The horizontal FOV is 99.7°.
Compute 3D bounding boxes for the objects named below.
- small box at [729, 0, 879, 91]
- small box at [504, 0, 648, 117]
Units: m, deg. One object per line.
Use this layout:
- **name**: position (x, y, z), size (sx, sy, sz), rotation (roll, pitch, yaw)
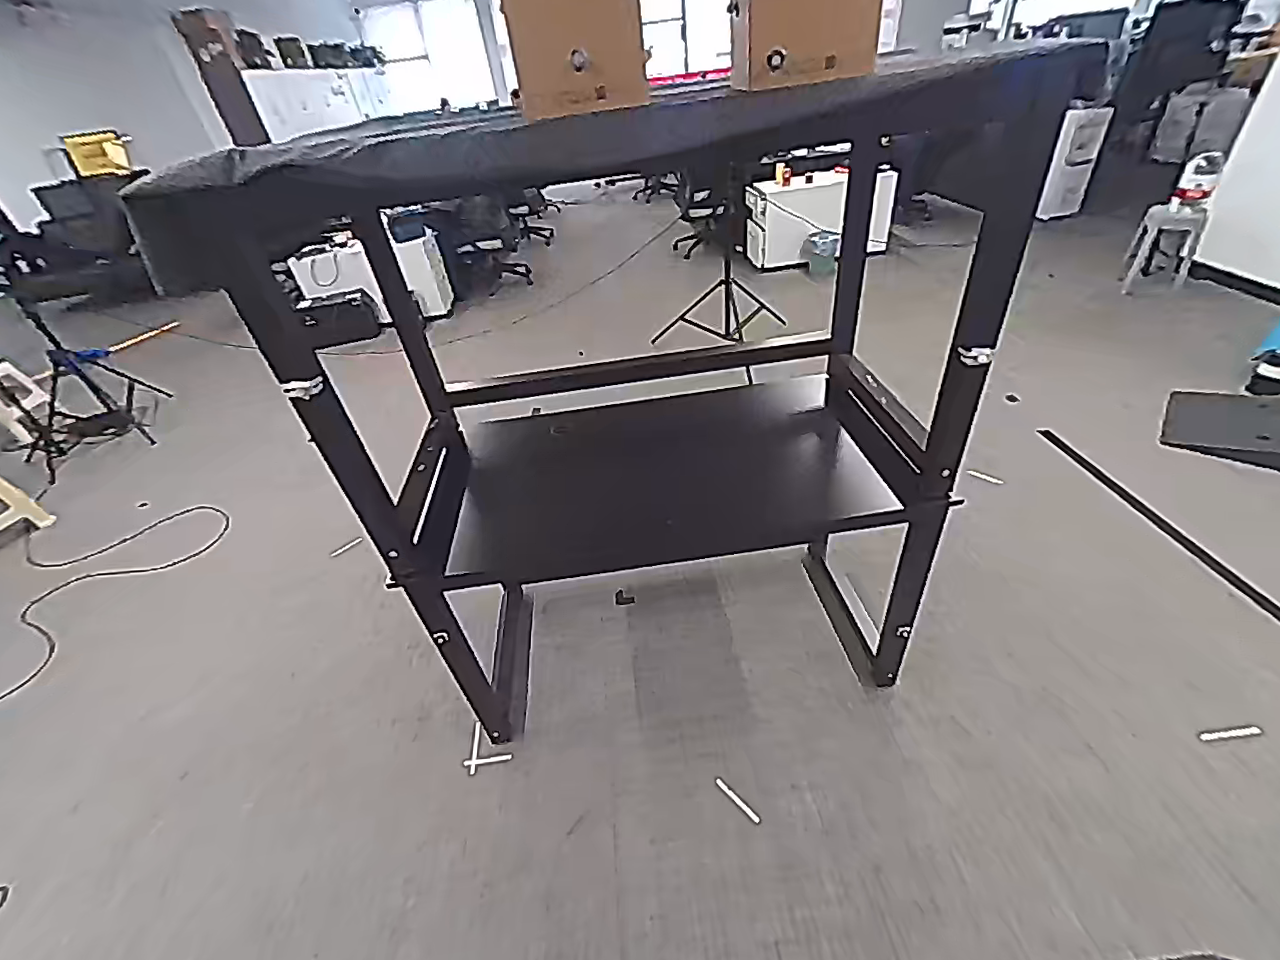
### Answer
- **small box**: position (0.214, -0.637, 0.725), size (0.168, 0.176, 0.179), rotation (-6, 36, 3)
- **small box**: position (-0.082, -0.594, 0.722), size (0.168, 0.176, 0.179), rotation (-8, 36, 1)
